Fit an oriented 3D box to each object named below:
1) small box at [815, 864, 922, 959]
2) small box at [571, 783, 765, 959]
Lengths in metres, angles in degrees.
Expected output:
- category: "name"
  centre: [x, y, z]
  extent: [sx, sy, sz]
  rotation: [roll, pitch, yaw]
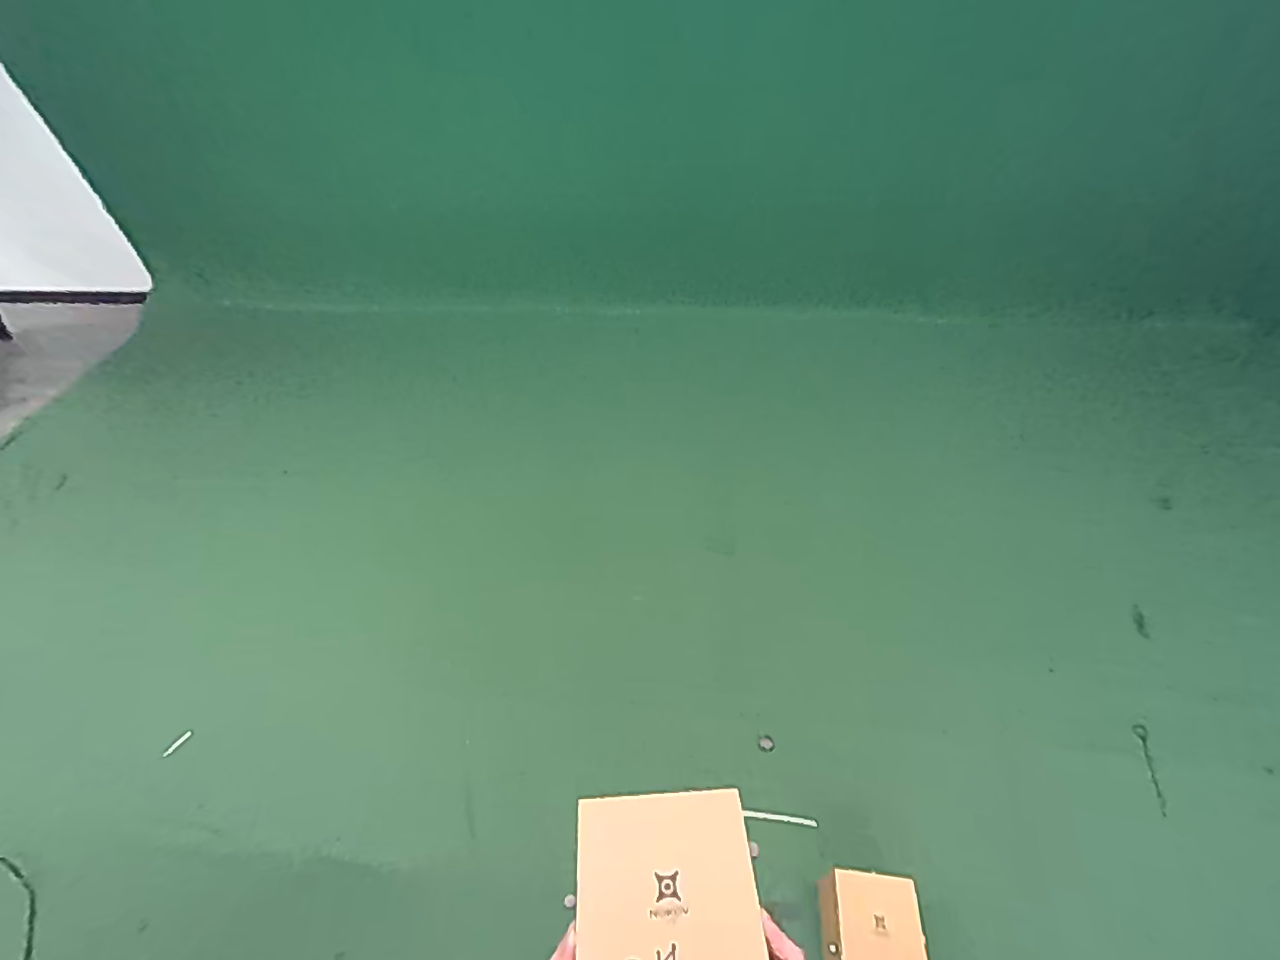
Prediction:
- category: "small box"
  centre: [0.480, 0.952, 1.158]
  extent: [0.168, 0.176, 0.179]
  rotation: [4, 49, 6]
- category: "small box"
  centre: [0.021, 0.430, 0.541]
  extent: [0.168, 0.176, 0.179]
  rotation: [-2, 43, -2]
